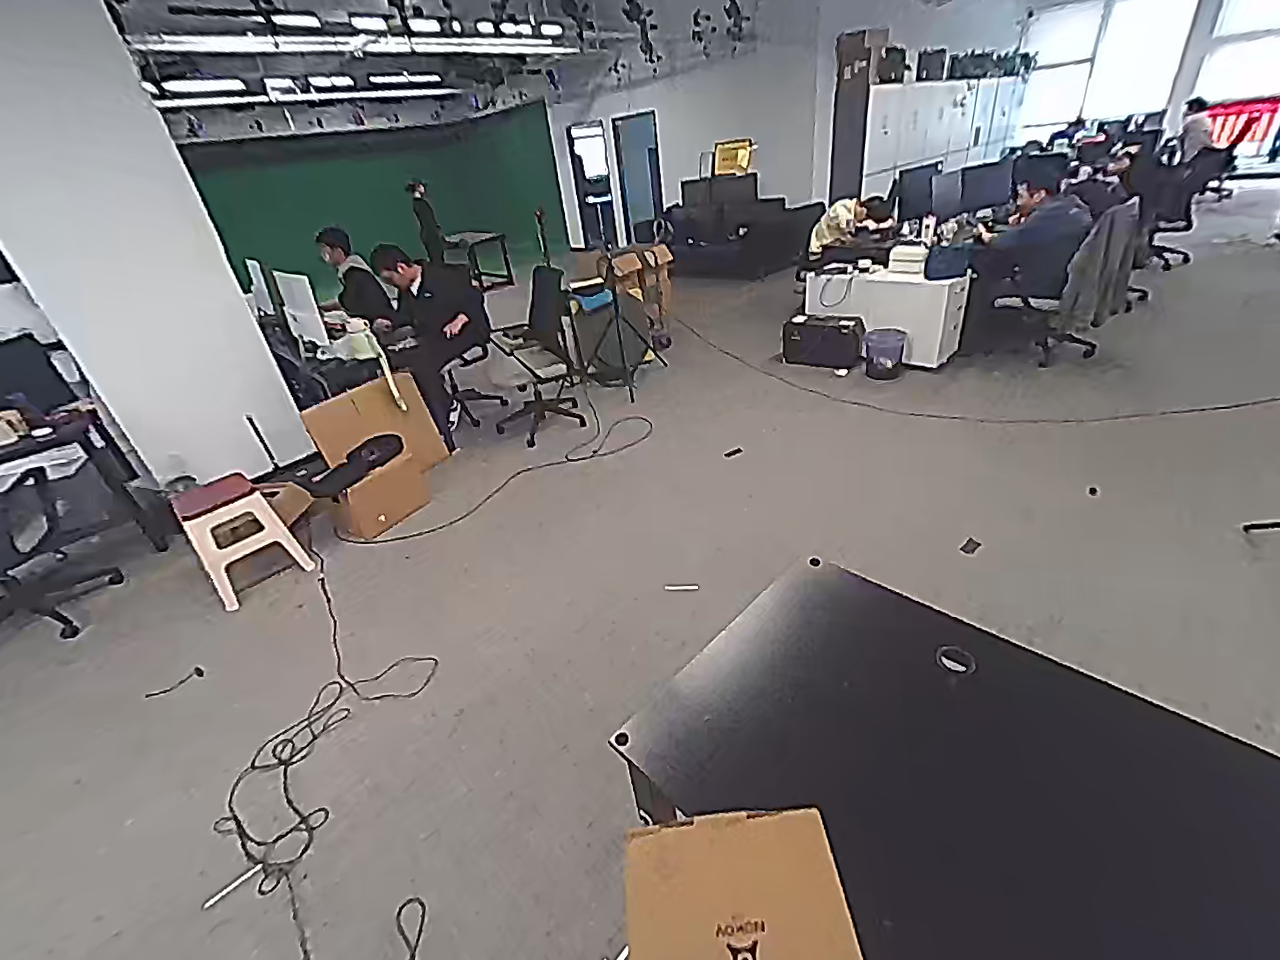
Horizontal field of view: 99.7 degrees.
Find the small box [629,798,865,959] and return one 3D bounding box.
[{"bbox_3d":[0.079,0.391,0.441,0.168,0.176,0.179,-6,41,0],"label":"small box"}]
